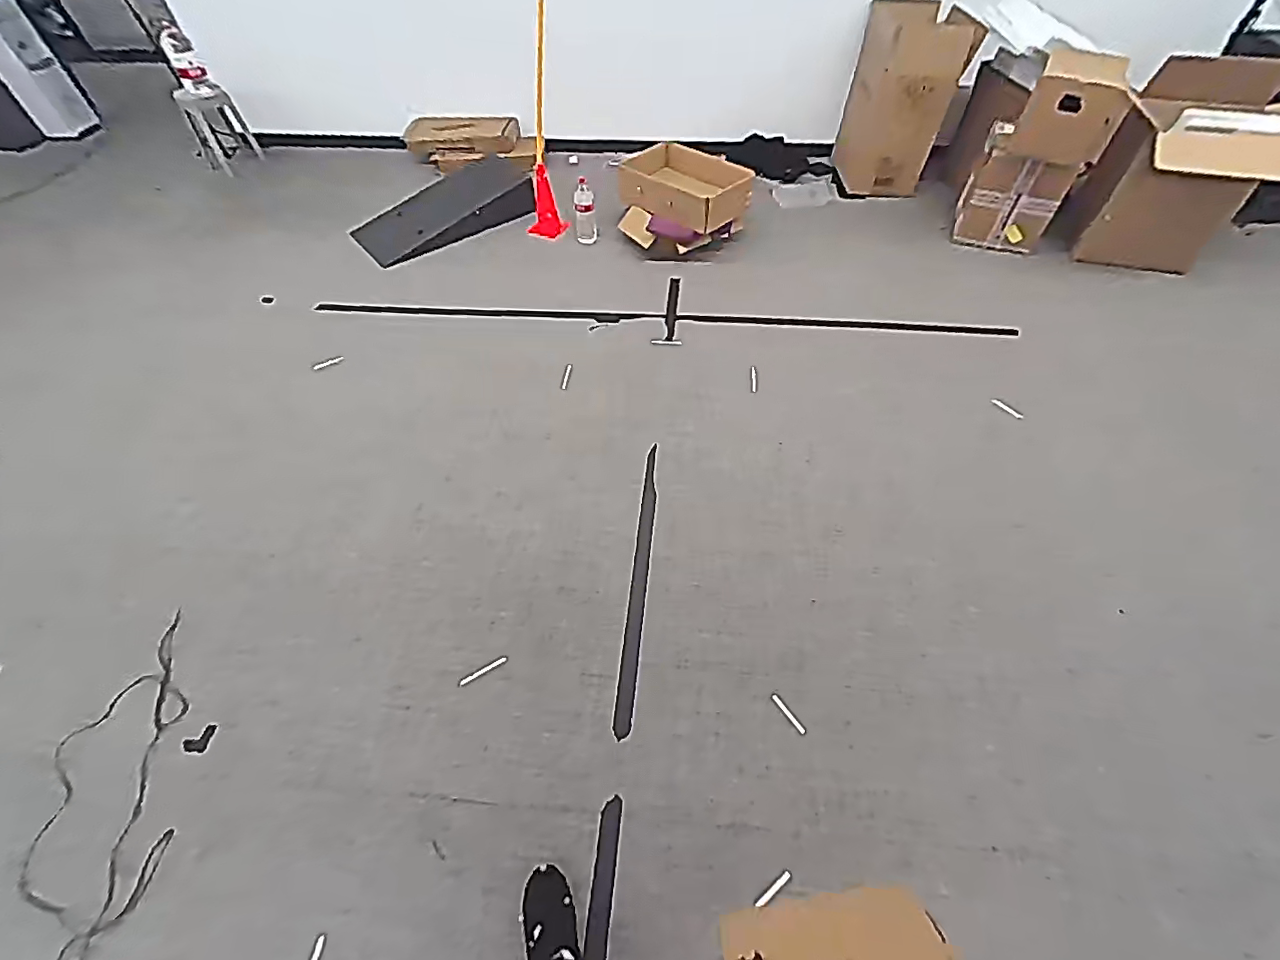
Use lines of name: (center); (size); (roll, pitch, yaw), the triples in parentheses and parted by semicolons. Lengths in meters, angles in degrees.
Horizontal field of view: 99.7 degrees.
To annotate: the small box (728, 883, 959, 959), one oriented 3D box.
small box: (0.175, 0.463, 0.415); (0.179, 0.168, 0.176); (-11, 91, 3)
